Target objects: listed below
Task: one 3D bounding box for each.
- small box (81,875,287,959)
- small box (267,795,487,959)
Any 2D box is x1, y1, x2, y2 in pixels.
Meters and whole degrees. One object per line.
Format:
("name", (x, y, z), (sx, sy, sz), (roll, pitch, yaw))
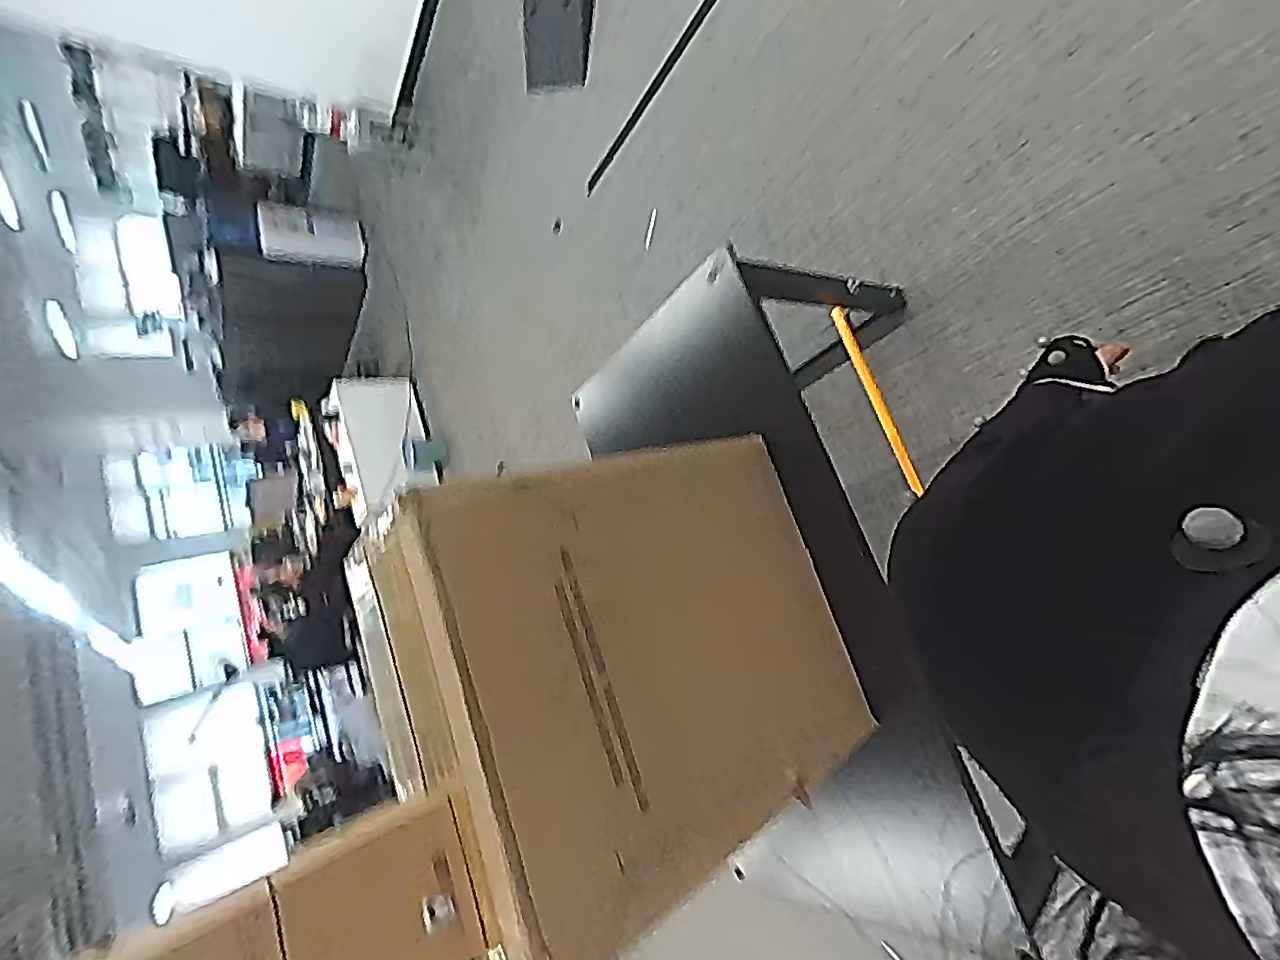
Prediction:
("small box", (-0.412, 0.492, 0.482), (0.179, 0.176, 0.168), (-37, 70, 47))
("small box", (-0.289, 0.469, 0.589), (0.179, 0.176, 0.168), (-40, 68, 45))
